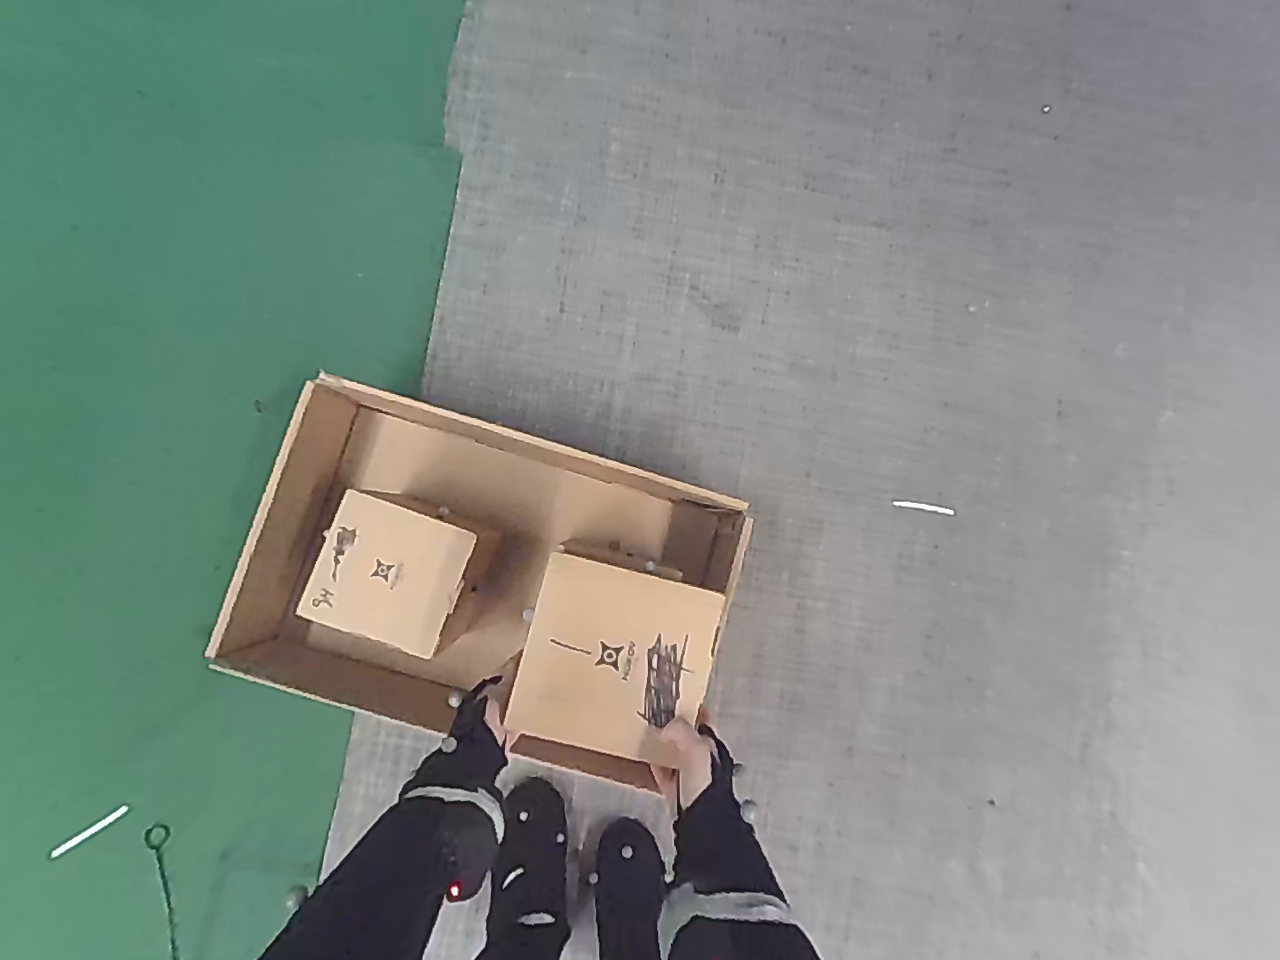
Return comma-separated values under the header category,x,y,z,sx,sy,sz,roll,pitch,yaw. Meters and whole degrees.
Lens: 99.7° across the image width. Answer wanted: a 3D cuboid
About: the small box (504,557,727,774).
category,x,y,z,sx,sy,sz,roll,pitch,yaw
small box,-0.027,0.180,0.577,0.179,0.176,0.168,15,80,-3
